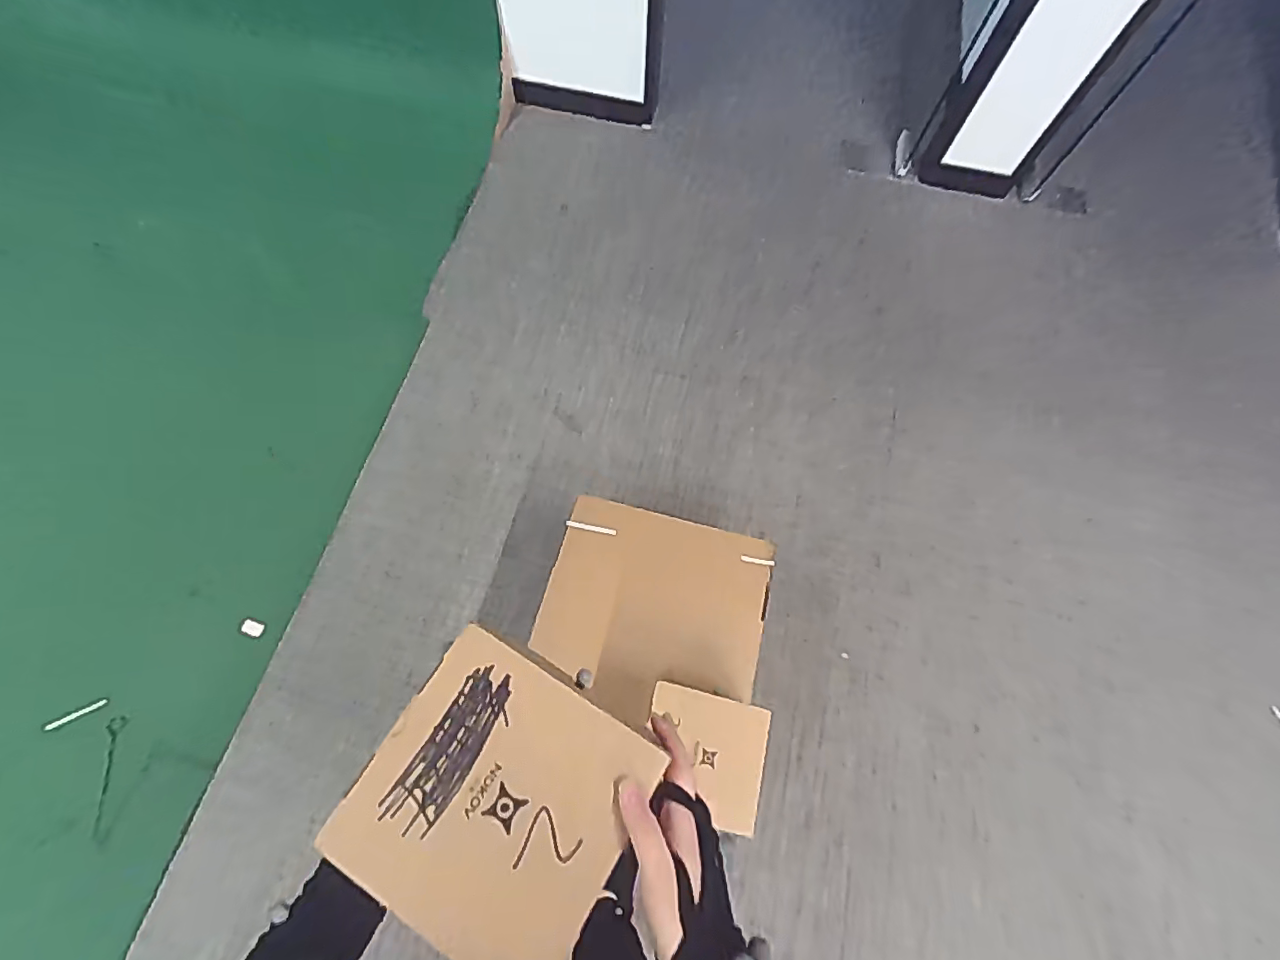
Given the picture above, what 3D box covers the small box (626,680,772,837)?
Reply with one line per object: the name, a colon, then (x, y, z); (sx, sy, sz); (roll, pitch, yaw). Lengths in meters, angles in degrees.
small box: (0.083, 0.415, 0.833); (0.179, 0.176, 0.168); (15, 69, 3)
